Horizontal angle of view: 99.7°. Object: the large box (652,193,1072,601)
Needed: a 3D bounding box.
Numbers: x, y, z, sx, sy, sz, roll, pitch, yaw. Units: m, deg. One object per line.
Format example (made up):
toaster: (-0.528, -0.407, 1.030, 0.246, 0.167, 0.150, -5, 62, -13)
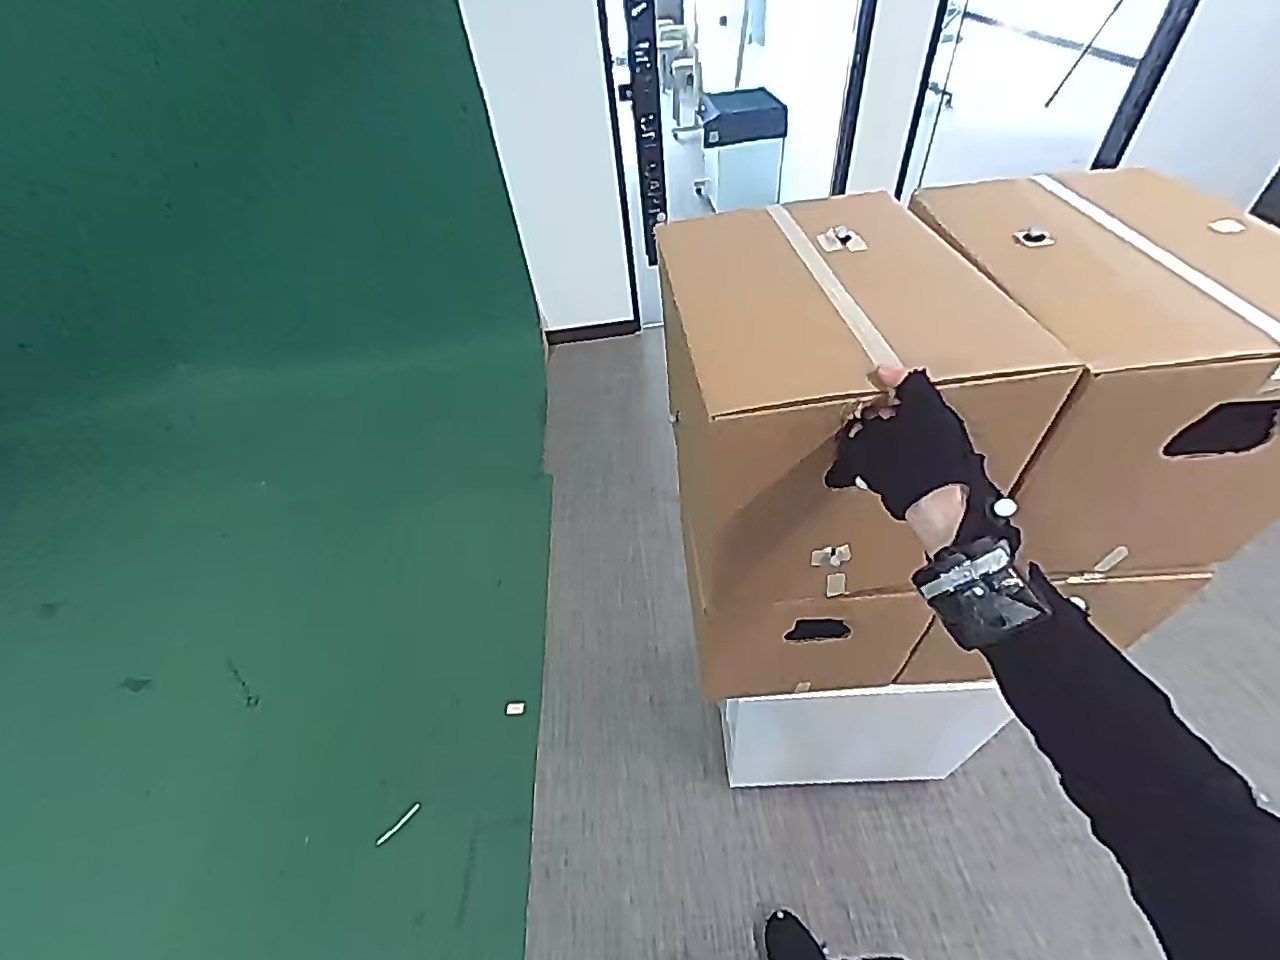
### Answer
large box: (0.203, -0.113, 0.684, 0.320, 0.320, 0.408, -7, 46, 0)
